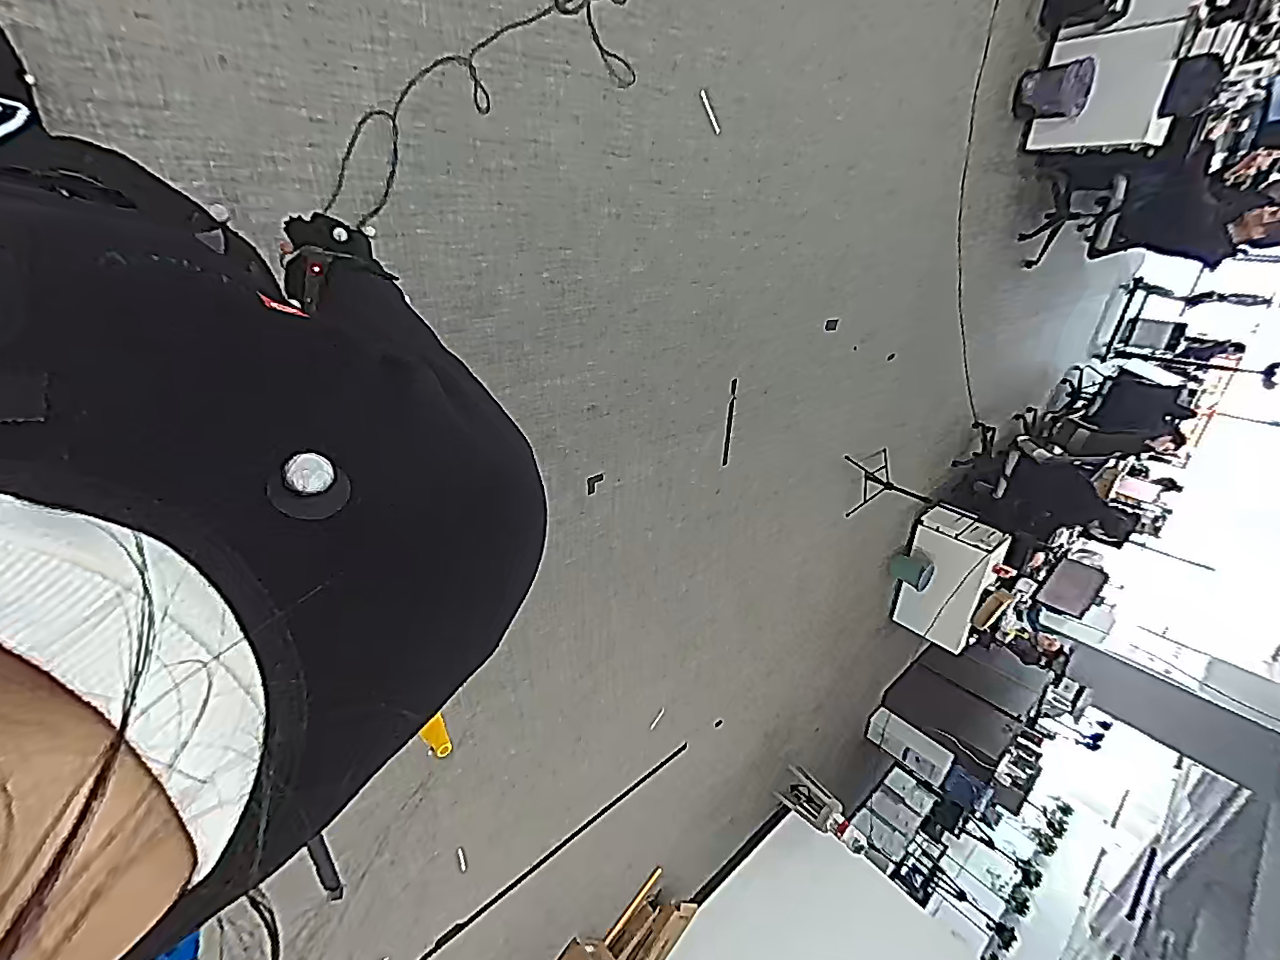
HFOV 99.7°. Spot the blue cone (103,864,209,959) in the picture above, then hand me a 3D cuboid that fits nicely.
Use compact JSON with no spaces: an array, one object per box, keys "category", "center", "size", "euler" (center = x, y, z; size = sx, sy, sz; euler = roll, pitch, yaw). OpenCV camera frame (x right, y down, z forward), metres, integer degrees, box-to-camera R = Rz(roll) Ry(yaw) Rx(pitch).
[{"category":"blue cone","center":[-1.195,1.201,1.351],"size":[0.192,0.380,0.193],"euler":[-15,120,-37]}]
